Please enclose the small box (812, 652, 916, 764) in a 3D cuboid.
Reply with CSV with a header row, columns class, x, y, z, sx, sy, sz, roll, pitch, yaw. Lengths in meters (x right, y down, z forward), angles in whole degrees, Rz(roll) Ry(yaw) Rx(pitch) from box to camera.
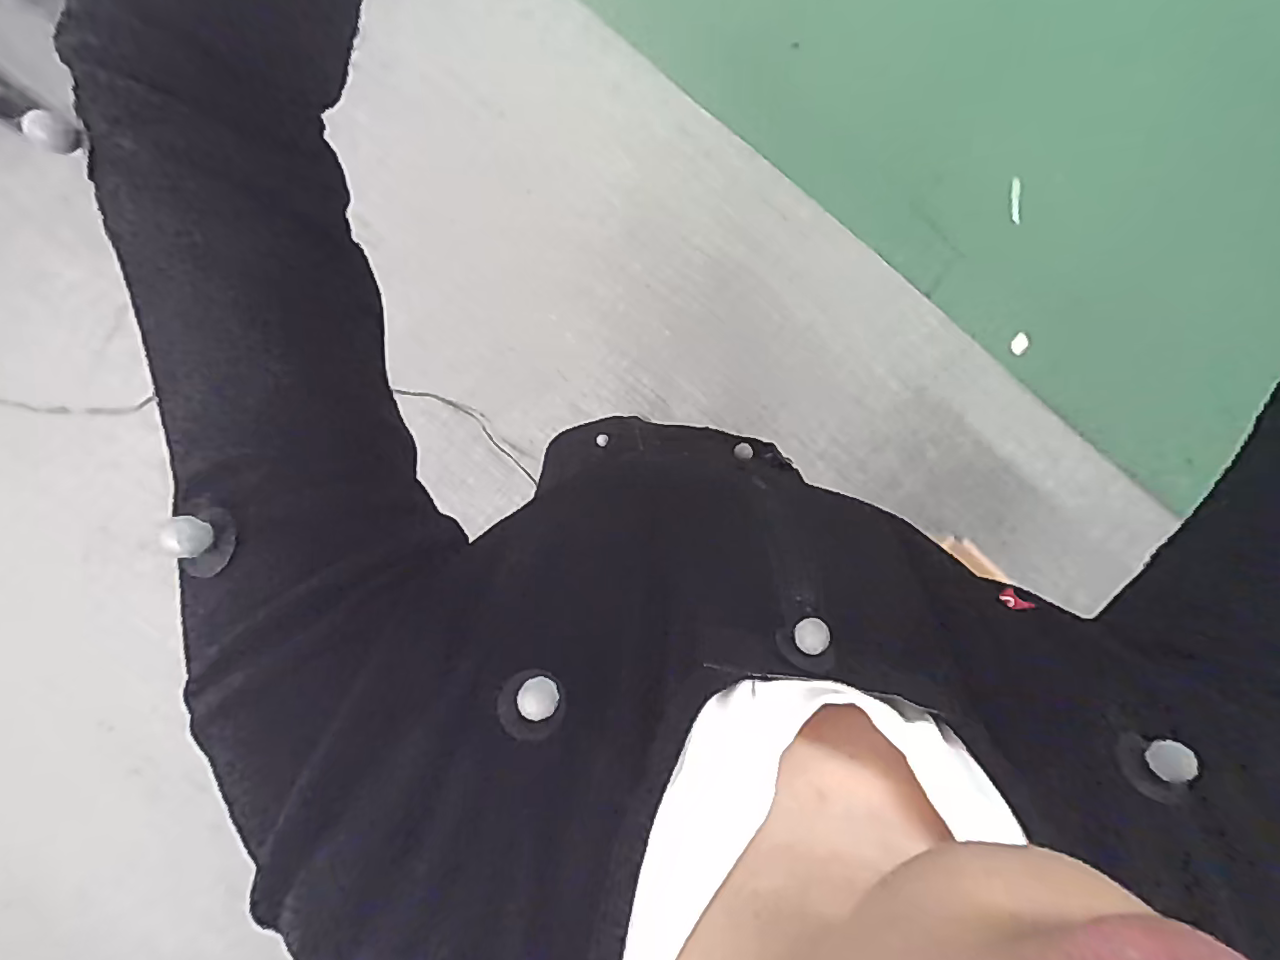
class,x,y,z,sx,sy,sz,roll,pitch,yaw
small box,0.448,0.441,0.986,0.179,0.176,0.168,41,93,-4
